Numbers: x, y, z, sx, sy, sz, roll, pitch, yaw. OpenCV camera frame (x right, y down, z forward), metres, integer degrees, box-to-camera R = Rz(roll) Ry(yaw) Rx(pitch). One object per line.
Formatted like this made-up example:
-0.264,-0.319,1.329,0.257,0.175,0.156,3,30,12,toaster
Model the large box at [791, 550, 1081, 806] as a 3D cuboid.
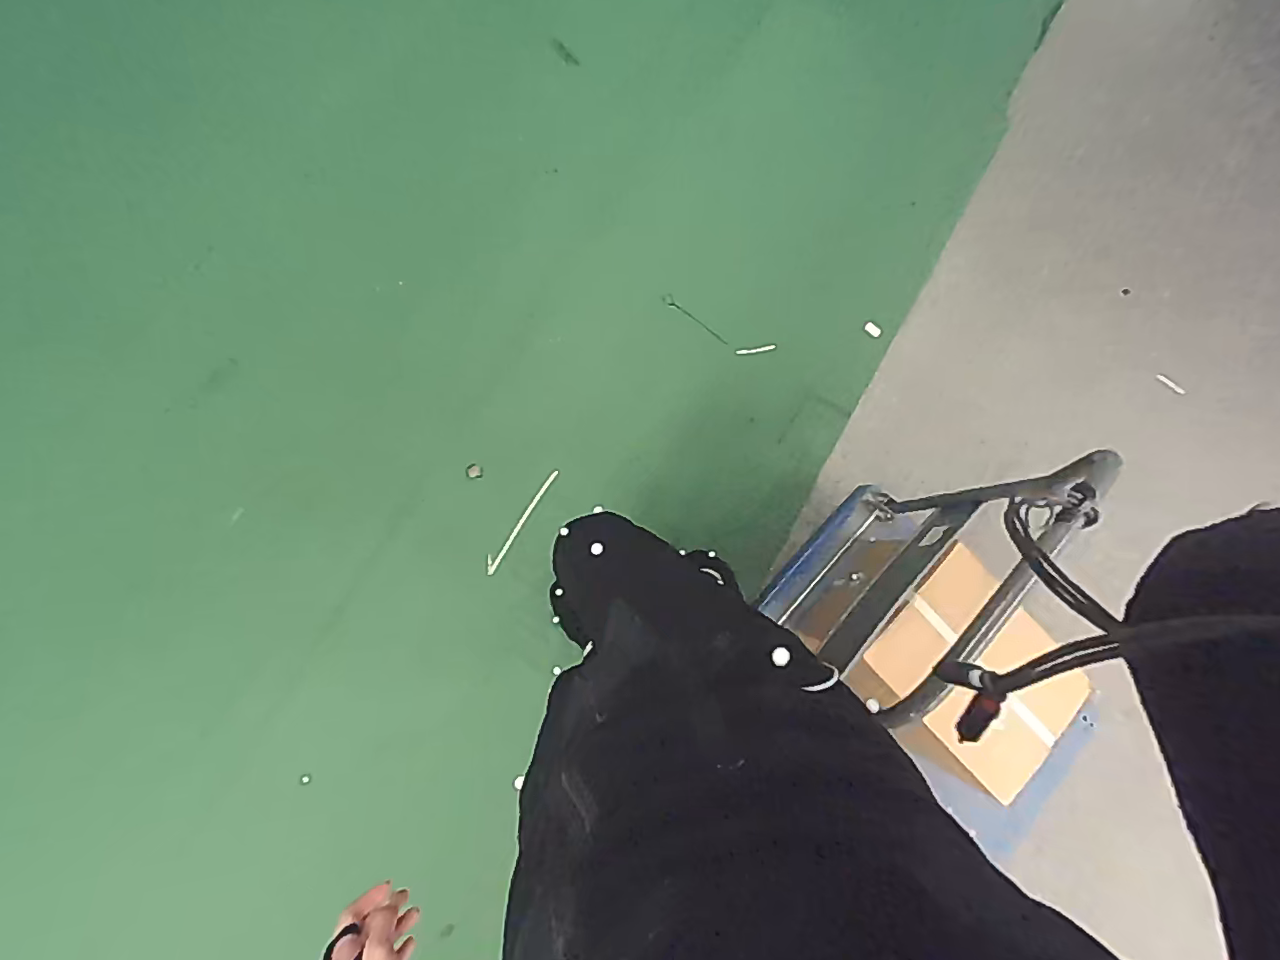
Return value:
0.626,0.402,1.205,0.320,0.320,0.408,-43,91,-11,large box
